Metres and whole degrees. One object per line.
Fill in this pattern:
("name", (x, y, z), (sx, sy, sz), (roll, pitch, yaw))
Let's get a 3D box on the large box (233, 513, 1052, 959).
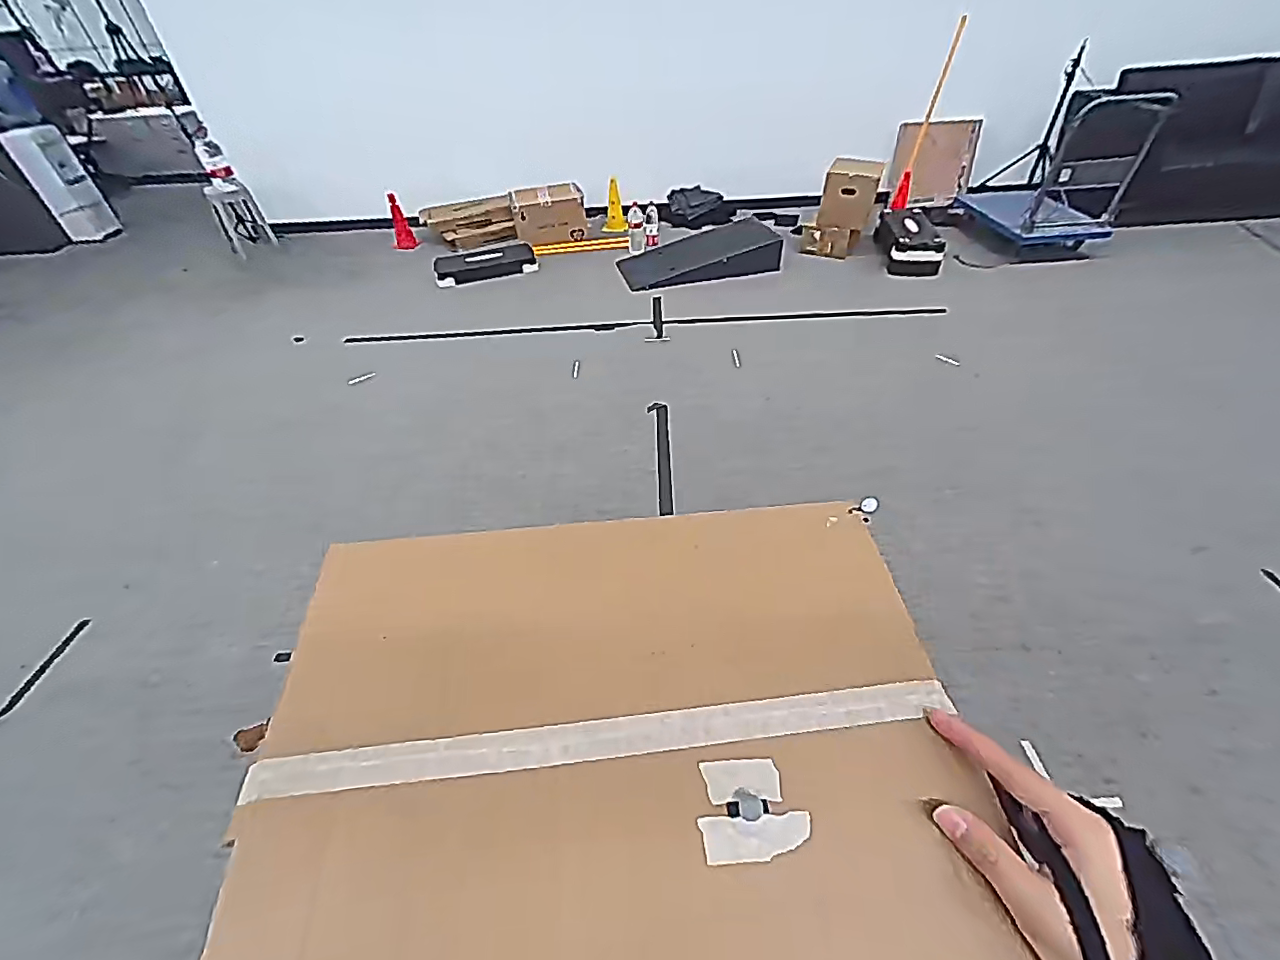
("large box", (-0.013, 0.255, 0.440), (0.408, 0.320, 0.320), (-4, 51, -5))
